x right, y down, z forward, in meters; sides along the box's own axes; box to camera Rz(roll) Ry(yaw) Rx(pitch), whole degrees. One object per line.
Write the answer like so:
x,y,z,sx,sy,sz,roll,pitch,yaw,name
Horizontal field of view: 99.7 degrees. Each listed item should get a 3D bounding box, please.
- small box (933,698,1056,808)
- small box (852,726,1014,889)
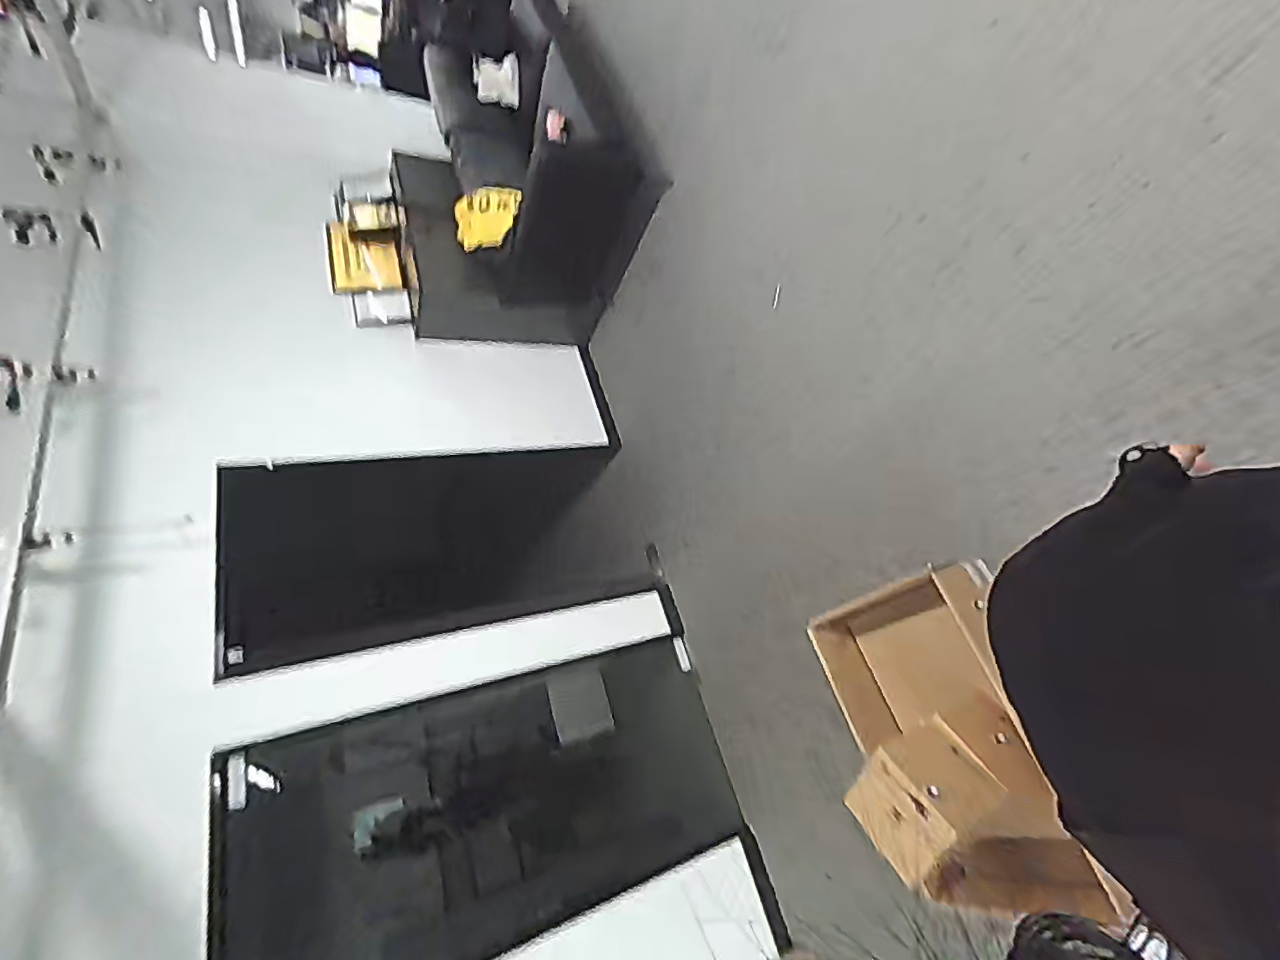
0.673,0.564,1.073,0.168,0.176,0.179,55,139,44,small box
0.534,0.591,0.990,0.168,0.176,0.179,48,135,48,small box
